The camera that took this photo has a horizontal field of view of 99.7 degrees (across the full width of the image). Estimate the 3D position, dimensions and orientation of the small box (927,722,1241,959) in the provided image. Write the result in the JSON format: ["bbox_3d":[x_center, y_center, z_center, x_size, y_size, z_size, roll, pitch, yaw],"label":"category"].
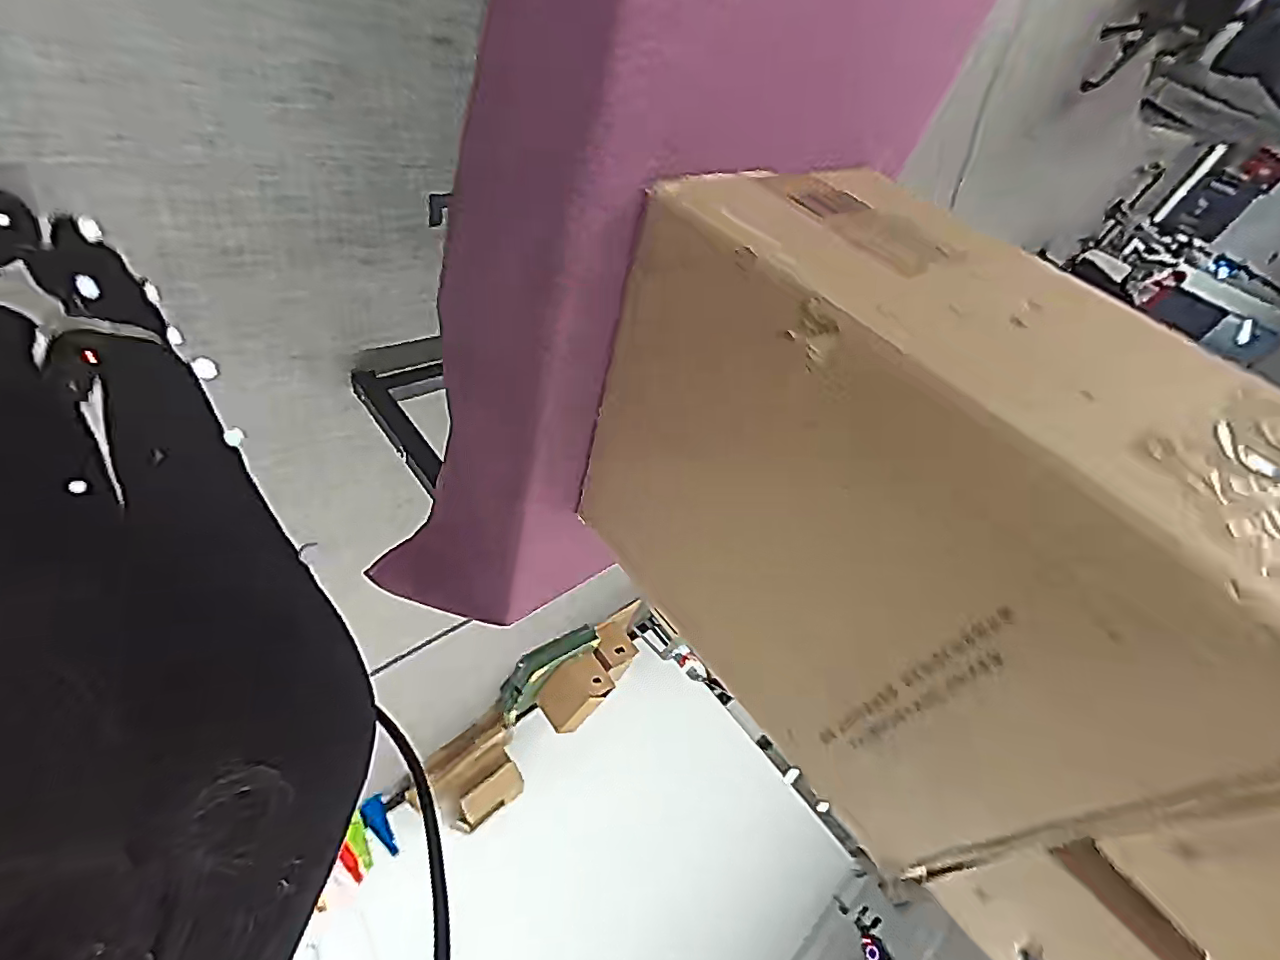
[{"bbox_3d":[0.429,0.387,0.542,0.179,0.176,0.168,-25,150,-40],"label":"small box"}]
